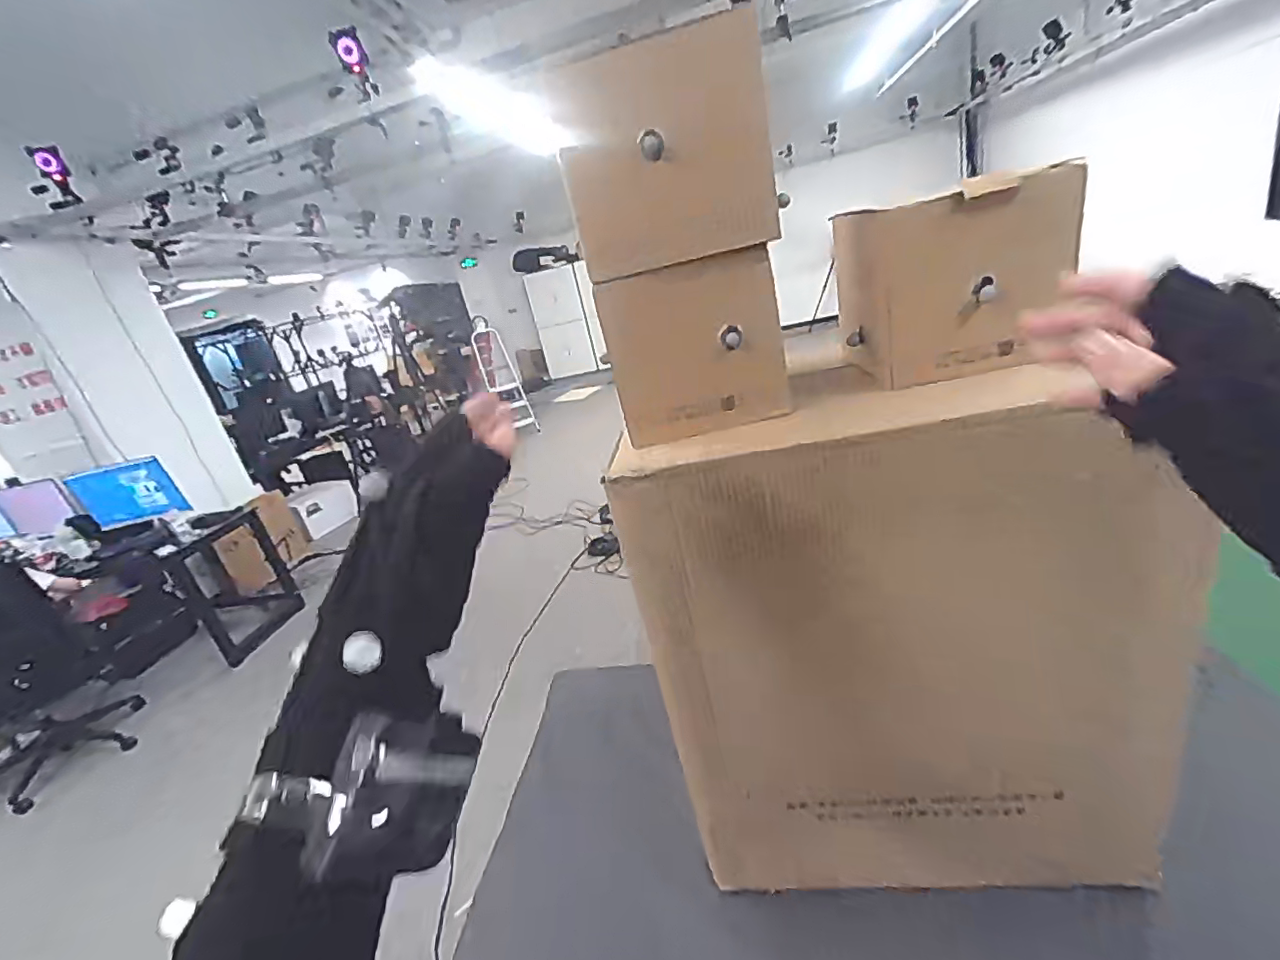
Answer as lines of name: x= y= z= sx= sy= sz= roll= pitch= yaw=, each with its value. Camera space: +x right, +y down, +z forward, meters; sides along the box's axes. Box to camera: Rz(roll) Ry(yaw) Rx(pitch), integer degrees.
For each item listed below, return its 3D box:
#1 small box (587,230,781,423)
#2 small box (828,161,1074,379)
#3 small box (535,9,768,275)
small box: x=0.046 y=-0.173 z=0.594 sx=0.168 sy=0.176 sz=0.179 roll=-13 pitch=25 yaw=3
small box: x=0.309 y=-0.215 z=0.571 sx=0.168 sy=0.176 sz=0.179 roll=-10 pitch=25 yaw=8
small box: x=0.025 y=-0.302 z=0.524 sx=0.179 sy=0.176 sz=0.168 roll=-10 pitch=24 yaw=11
